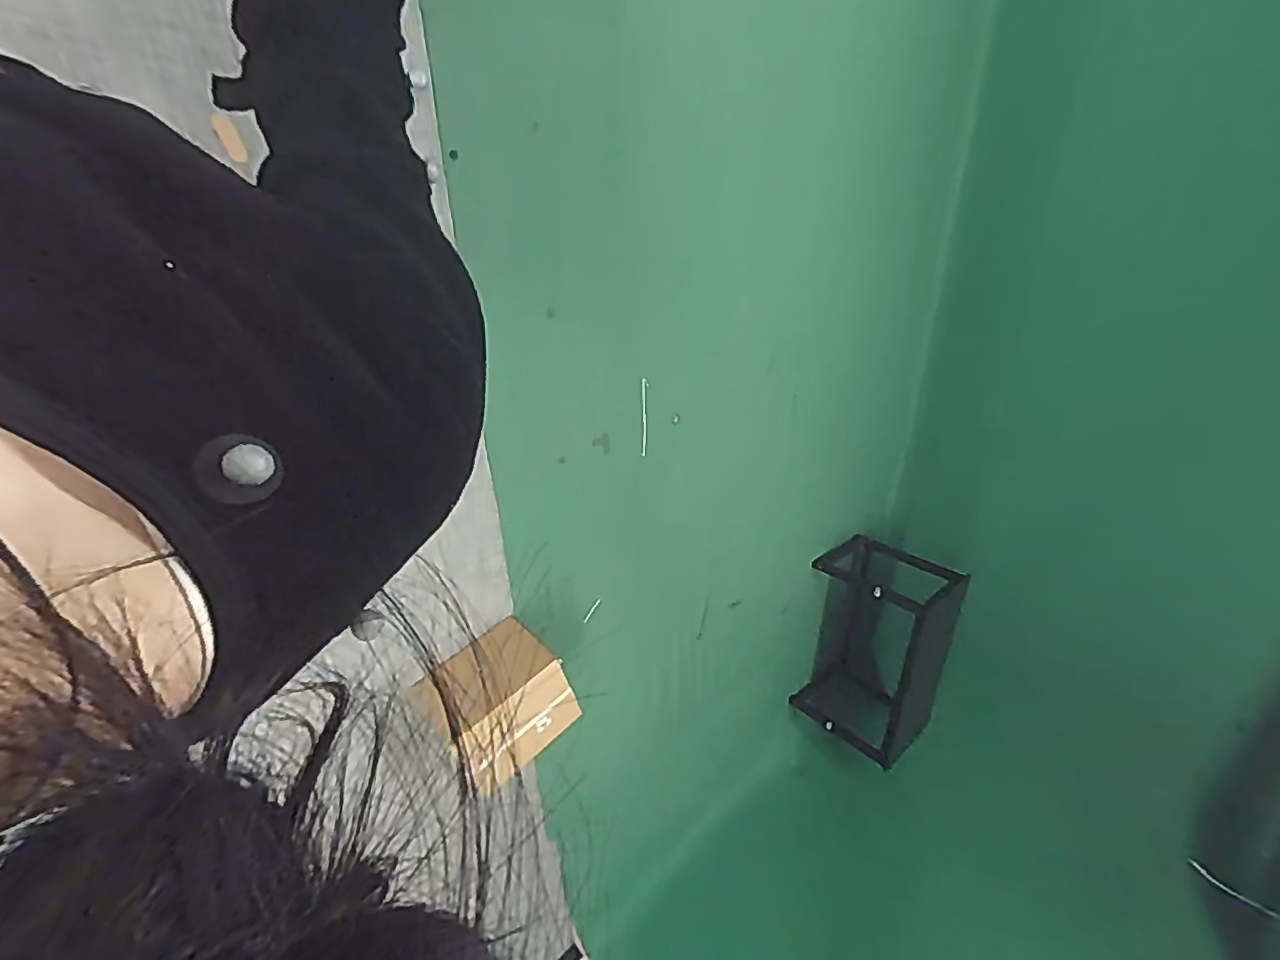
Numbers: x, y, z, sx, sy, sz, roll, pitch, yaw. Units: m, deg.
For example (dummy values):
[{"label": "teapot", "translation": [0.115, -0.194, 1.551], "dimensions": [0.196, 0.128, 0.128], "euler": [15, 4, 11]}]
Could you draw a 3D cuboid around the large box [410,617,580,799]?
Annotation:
[{"label": "large box", "translation": [-0.484, 0.754, 1.834], "dimensions": [0.408, 0.320, 0.320], "euler": [-35, 129, -29]}]
